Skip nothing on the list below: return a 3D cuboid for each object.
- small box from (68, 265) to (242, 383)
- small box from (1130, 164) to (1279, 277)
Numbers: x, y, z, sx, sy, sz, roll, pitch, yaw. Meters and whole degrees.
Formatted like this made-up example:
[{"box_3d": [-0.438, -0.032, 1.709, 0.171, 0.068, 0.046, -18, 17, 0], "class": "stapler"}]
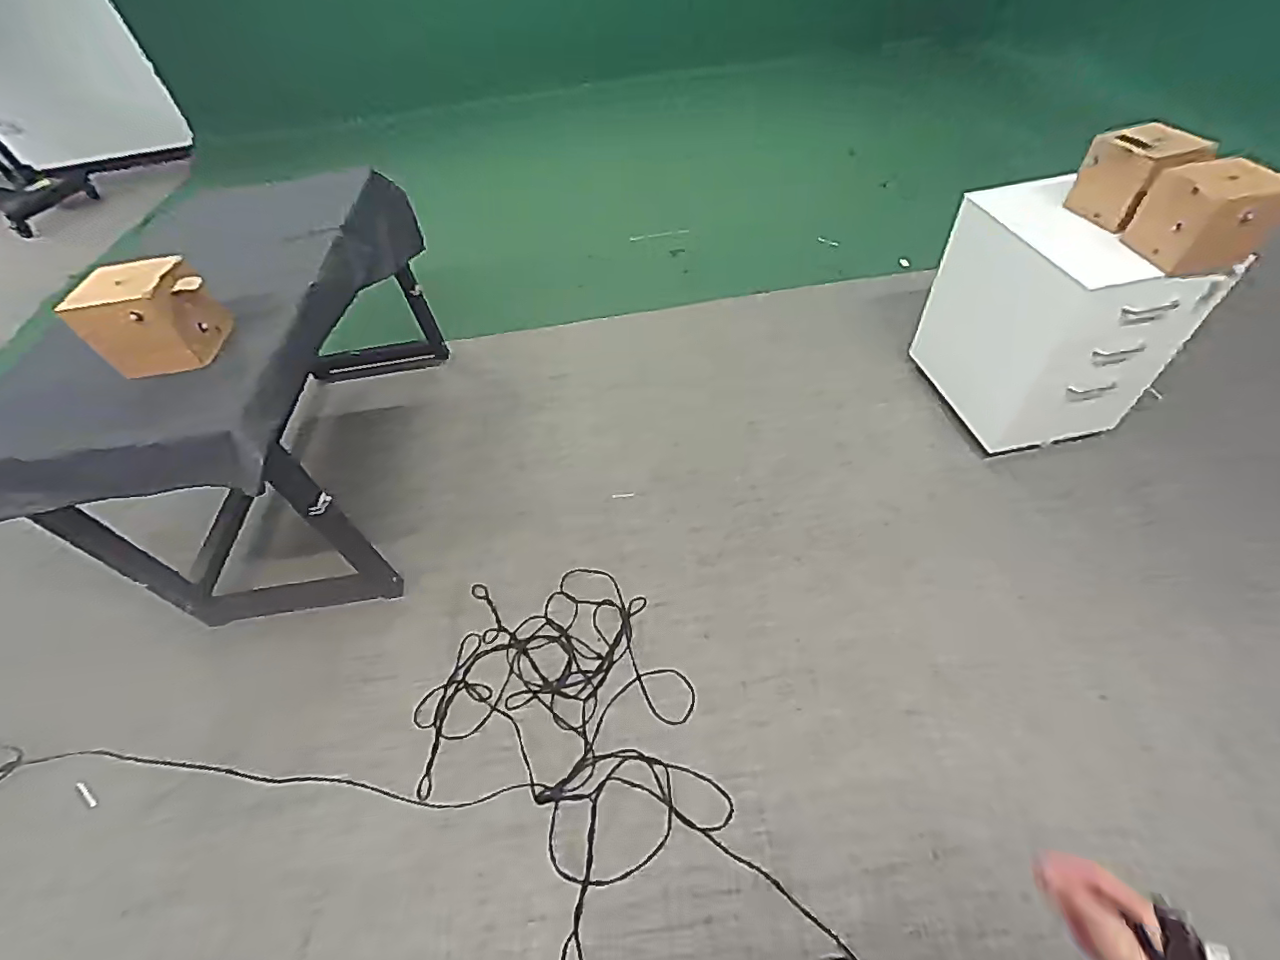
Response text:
[{"box_3d": [-0.997, -0.321, 1.132, 0.179, 0.176, 0.168, -9, 49, 0], "class": "small box"}, {"box_3d": [1.248, -0.568, 1.194, 0.179, 0.176, 0.168, -8, 50, 0], "class": "small box"}]
